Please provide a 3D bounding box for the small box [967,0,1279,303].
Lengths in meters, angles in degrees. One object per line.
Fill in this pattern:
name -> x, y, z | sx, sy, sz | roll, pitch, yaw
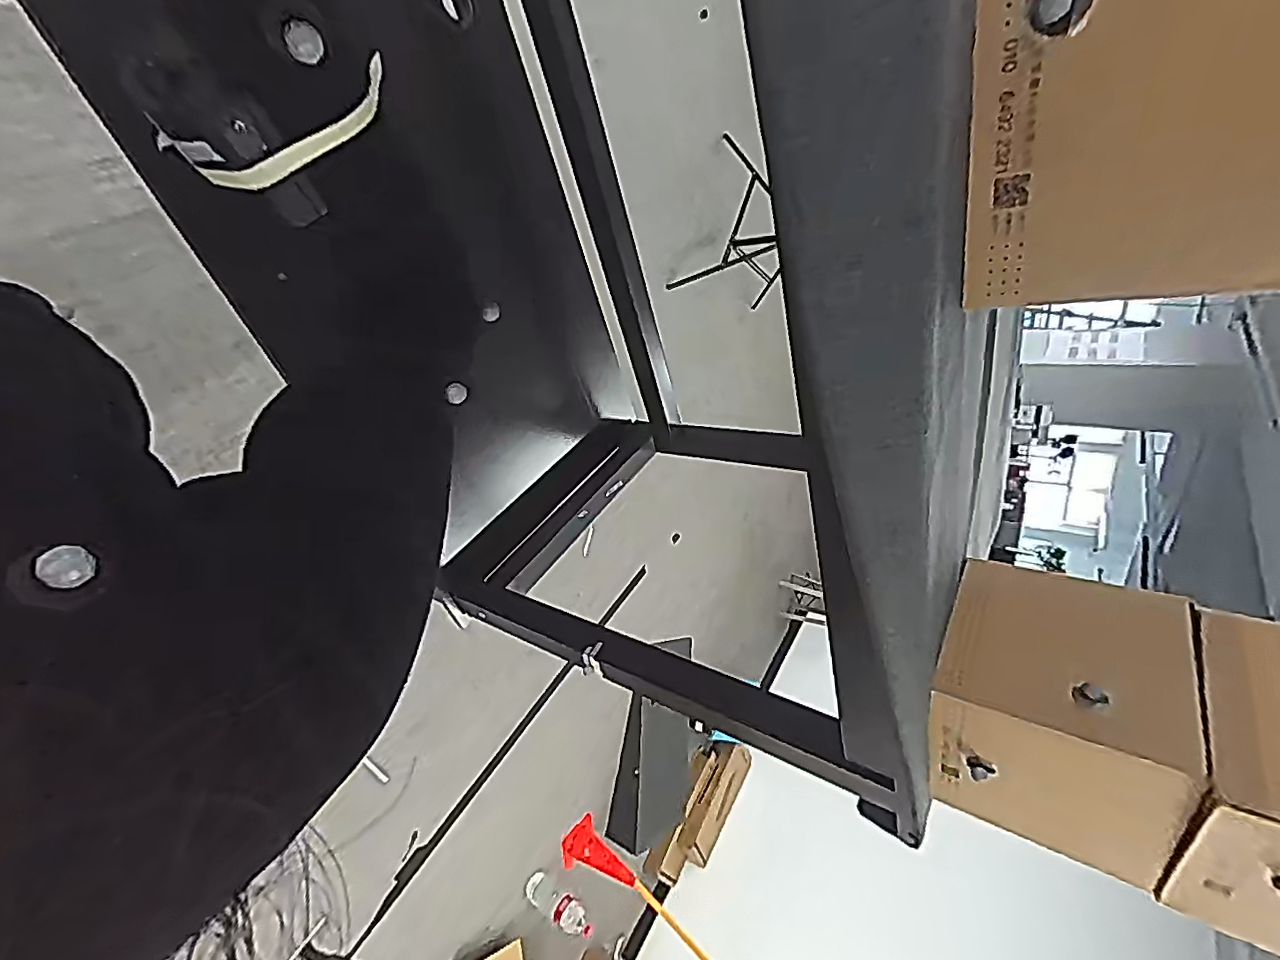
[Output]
small box -> 0.276, -0.202, 0.275 | 0.179, 0.176, 0.168 | -50, 134, -37

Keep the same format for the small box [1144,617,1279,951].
small box -> 0.496, 0.229, 0.392 | 0.179, 0.176, 0.168 | -46, 131, -36
